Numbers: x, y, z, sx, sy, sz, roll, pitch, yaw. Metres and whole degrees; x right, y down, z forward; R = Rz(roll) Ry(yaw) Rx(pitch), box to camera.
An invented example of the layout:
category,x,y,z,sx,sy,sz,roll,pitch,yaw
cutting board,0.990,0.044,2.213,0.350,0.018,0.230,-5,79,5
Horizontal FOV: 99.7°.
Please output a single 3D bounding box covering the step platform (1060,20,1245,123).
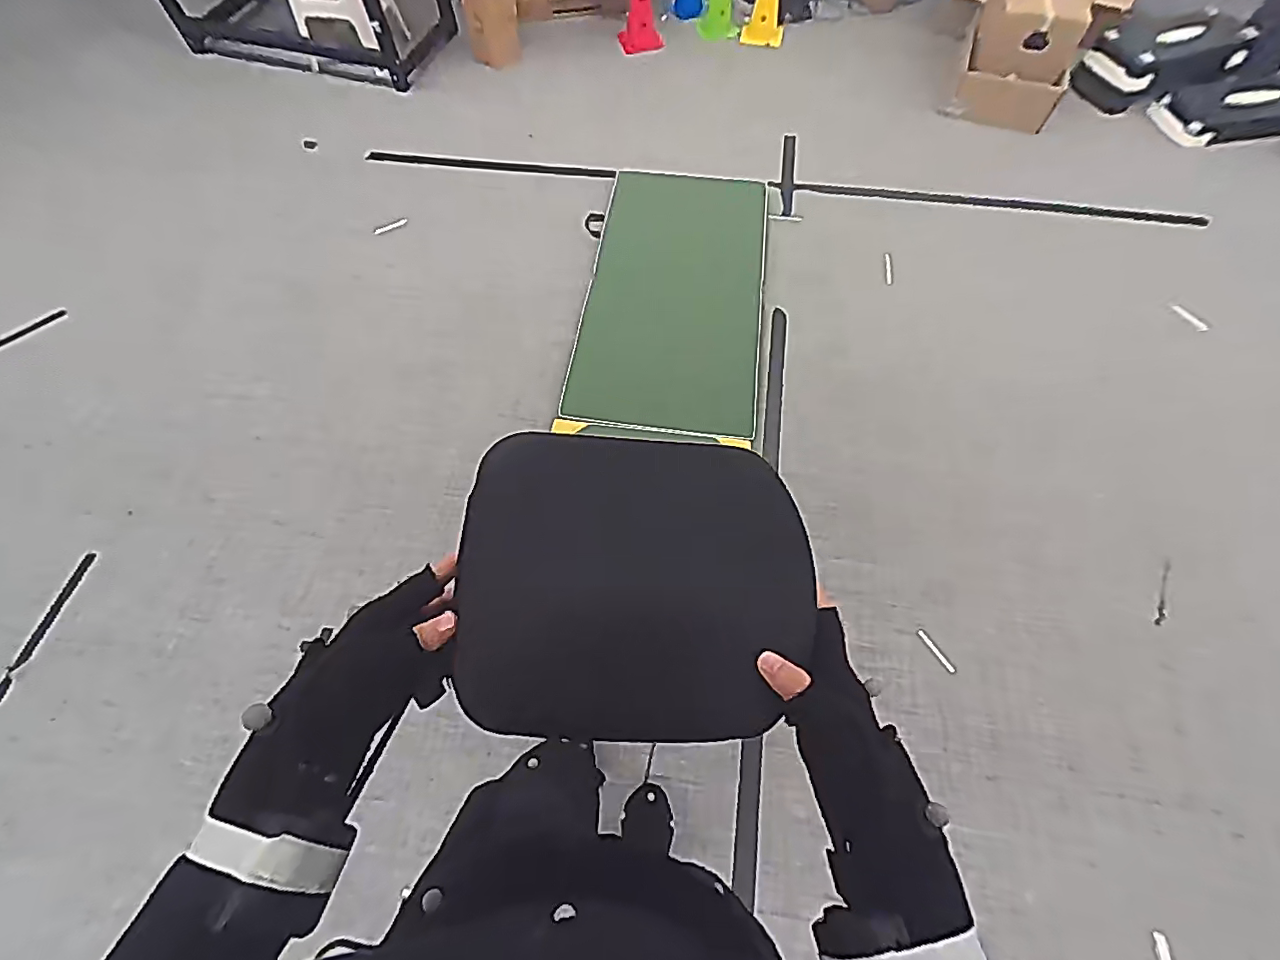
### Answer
category,x,y,z,sx,sy,sz,roll,pitch,yaw
step platform,2.286,-1.831,2.416,0.684,0.204,0.286,-19,65,-9
